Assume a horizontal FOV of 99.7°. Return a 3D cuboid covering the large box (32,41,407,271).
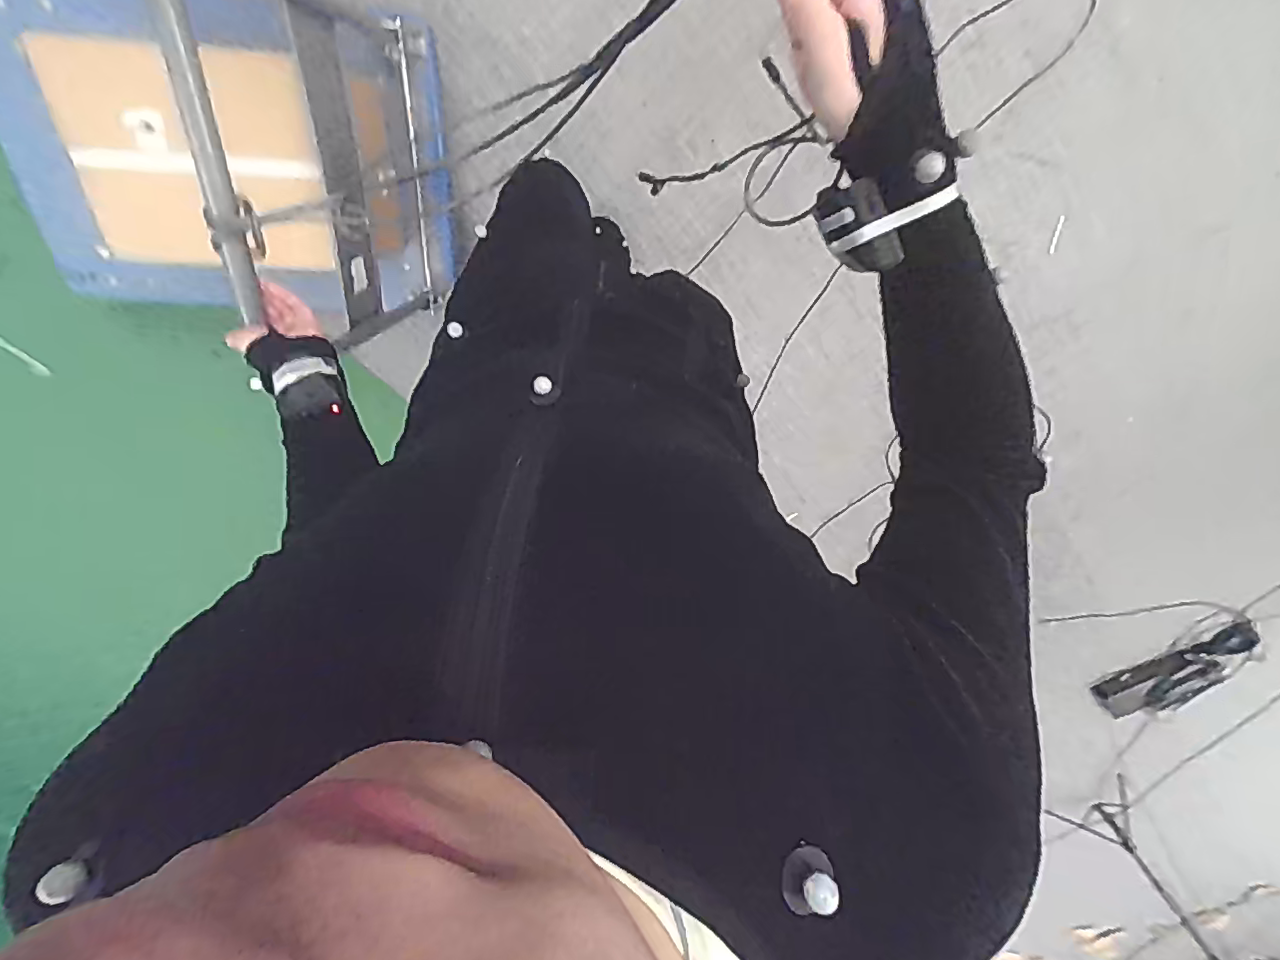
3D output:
[{"bbox_3d":[-0.708,-0.586,1.007,0.408,0.320,0.320,2,120,-4],"label":"large box"}]
